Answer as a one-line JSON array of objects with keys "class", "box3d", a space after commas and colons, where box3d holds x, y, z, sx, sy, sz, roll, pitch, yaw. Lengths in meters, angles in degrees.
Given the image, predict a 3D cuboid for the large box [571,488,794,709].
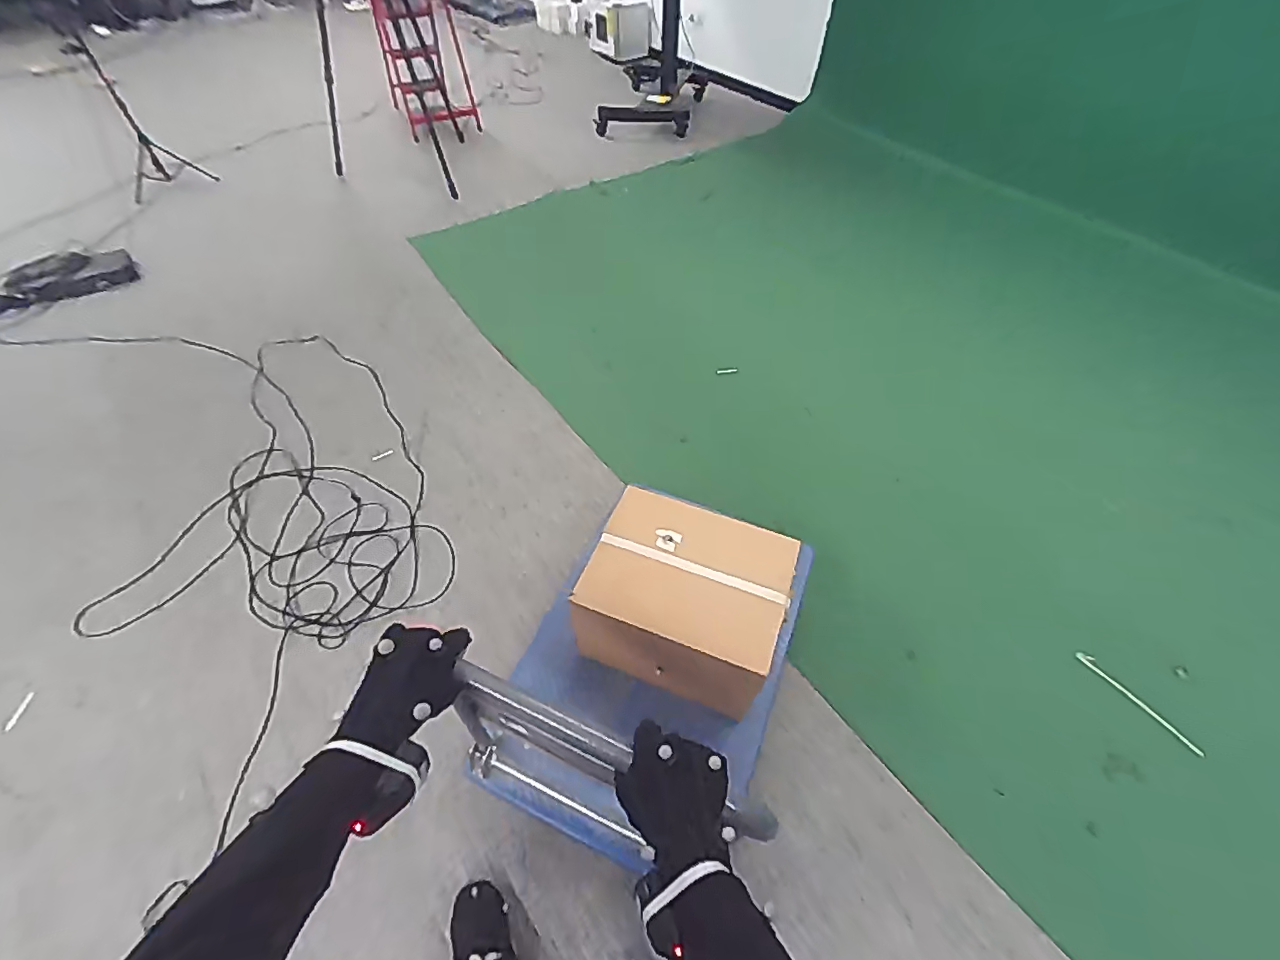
[{"class": "large box", "box3d": [0.100, 0.274, 1.243, 0.408, 0.320, 0.320, 17, 53, 13]}]
